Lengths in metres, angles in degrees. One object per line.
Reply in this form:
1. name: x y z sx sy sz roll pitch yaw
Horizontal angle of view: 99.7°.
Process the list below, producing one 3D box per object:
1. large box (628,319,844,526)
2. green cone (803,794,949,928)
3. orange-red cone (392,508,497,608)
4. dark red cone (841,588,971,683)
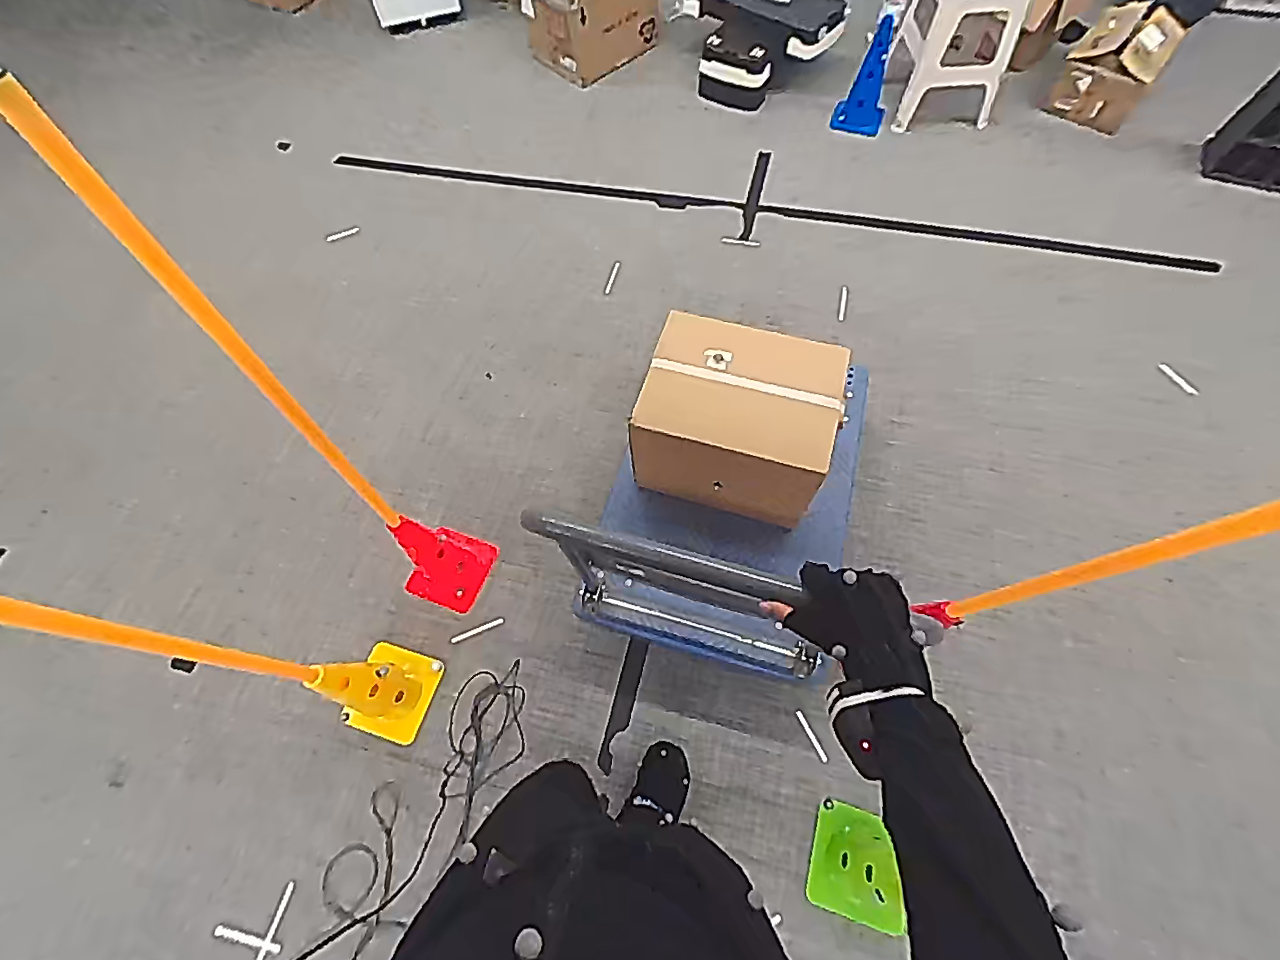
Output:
1. large box: 0.216 -0.124 1.267 0.408 0.320 0.320 15 66 10
2. green cone: 0.458 0.735 1.001 0.202 0.368 0.200 16 66 9
3. orange-red cone: -0.516 0.153 1.323 0.198 0.360 0.199 20 65 10
4. dark red cone: 0.599 0.307 1.182 0.201 0.394 0.202 13 66 6
